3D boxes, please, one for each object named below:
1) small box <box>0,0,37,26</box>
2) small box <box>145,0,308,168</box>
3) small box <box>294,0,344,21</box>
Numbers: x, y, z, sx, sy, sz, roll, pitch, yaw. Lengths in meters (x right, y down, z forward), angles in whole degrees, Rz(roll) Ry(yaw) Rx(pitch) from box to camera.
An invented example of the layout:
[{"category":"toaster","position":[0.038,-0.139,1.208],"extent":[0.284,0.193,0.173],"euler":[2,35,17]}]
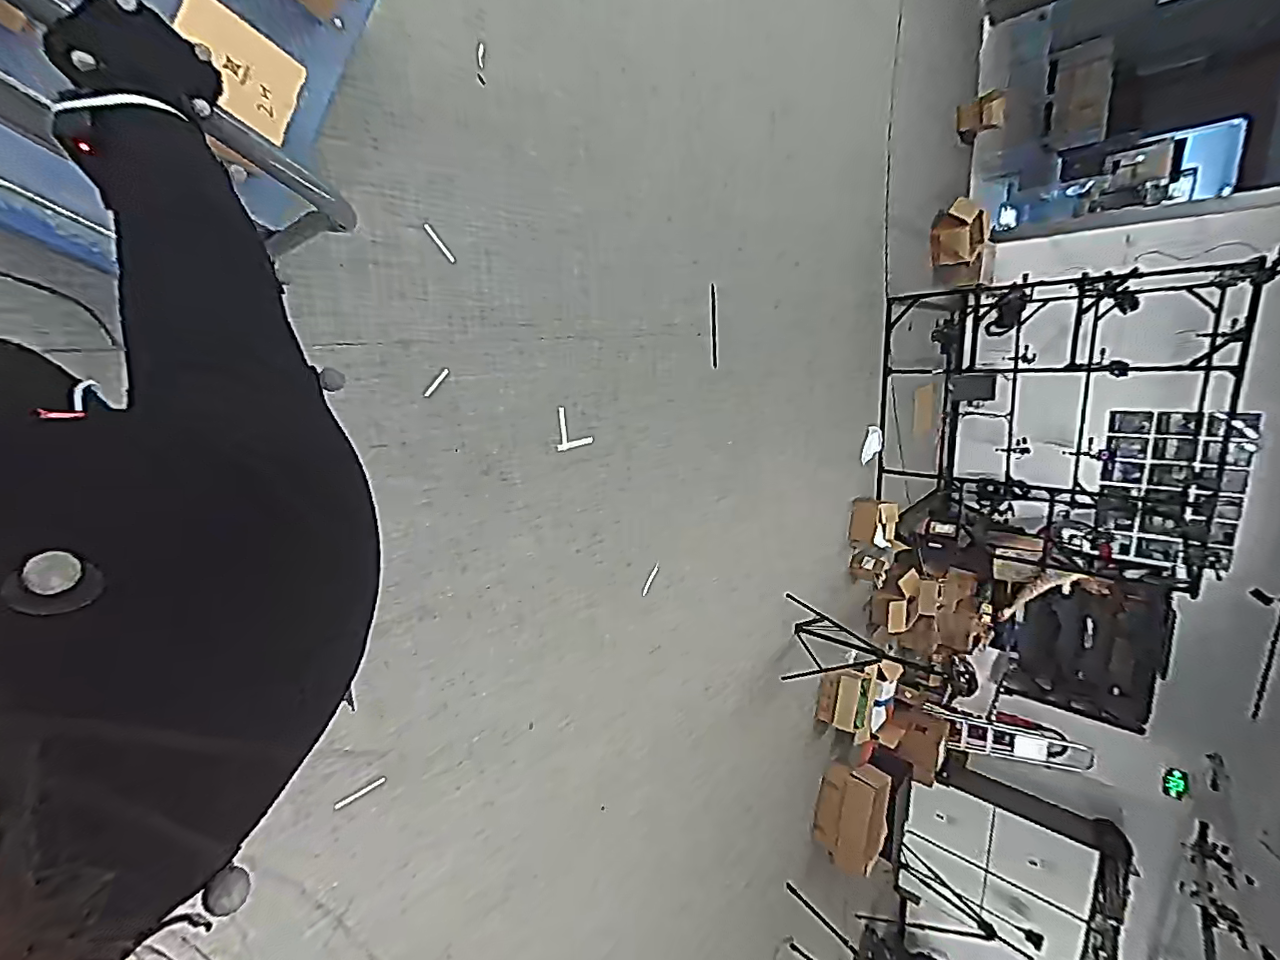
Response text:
[{"category":"small box","position":[-0.925,-0.781,0.730],"extent":[0.179,0.176,0.168],"euler":[31,73,-49]},{"category":"small box","position":[-0.737,-0.694,0.961],"extent":[0.179,0.176,0.168],"euler":[23,80,-49]},{"category":"small box","position":[-0.624,-1.042,1.027],"extent":[0.168,0.176,0.179],"euler":[28,77,-48]}]
